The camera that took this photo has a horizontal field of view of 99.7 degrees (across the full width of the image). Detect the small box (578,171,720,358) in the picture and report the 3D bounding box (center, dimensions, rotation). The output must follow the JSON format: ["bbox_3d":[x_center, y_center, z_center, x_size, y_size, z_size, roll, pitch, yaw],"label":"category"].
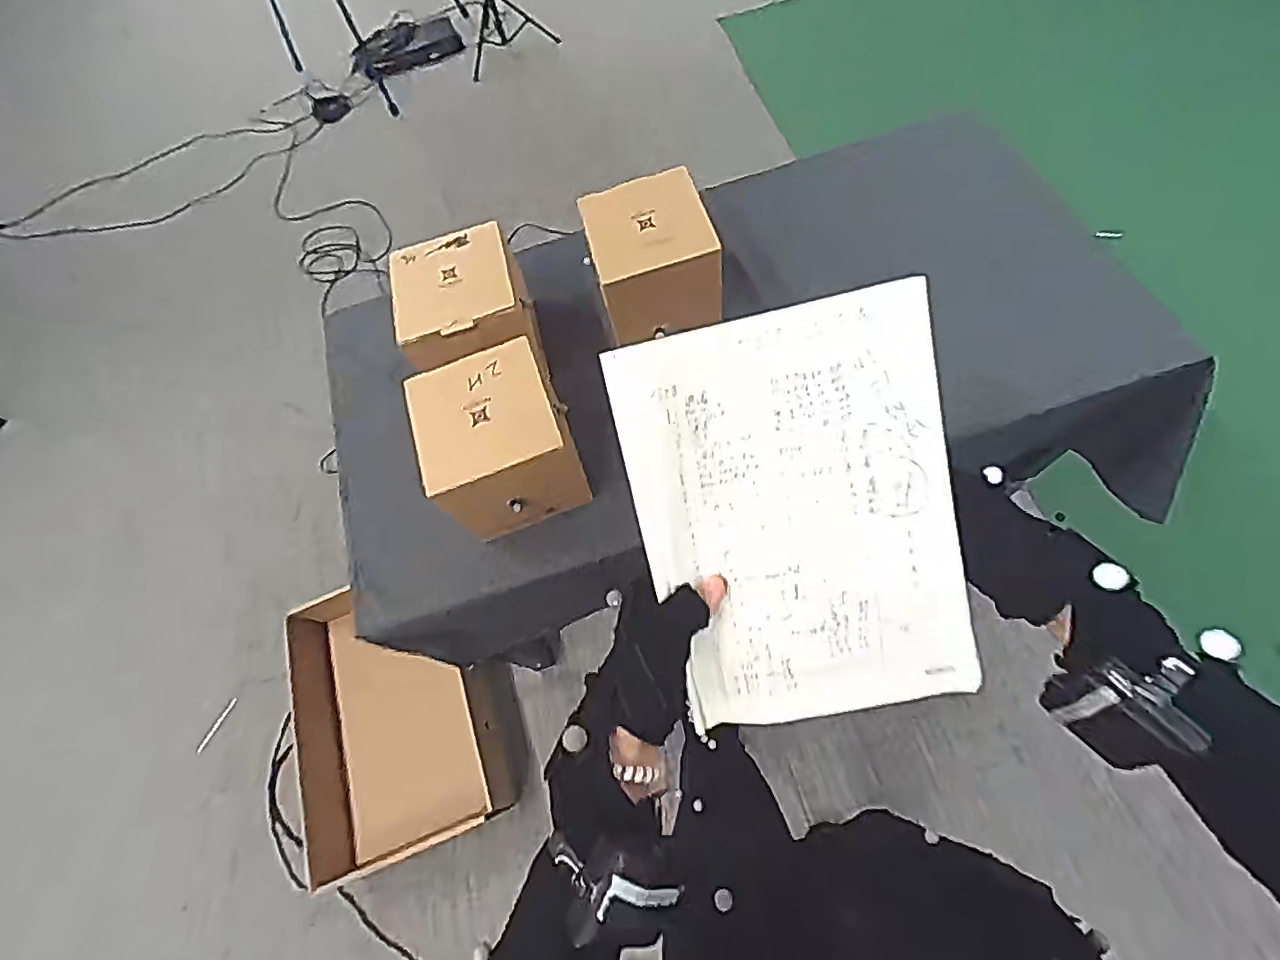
[{"bbox_3d":[0.016,-0.316,0.813,0.168,0.176,0.179,-16,65,2],"label":"small box"}]

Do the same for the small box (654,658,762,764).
[{"bbox_3d":[0.151,0.518,1.232,0.179,0.176,0.168,20,82,33],"label":"small box"}]
